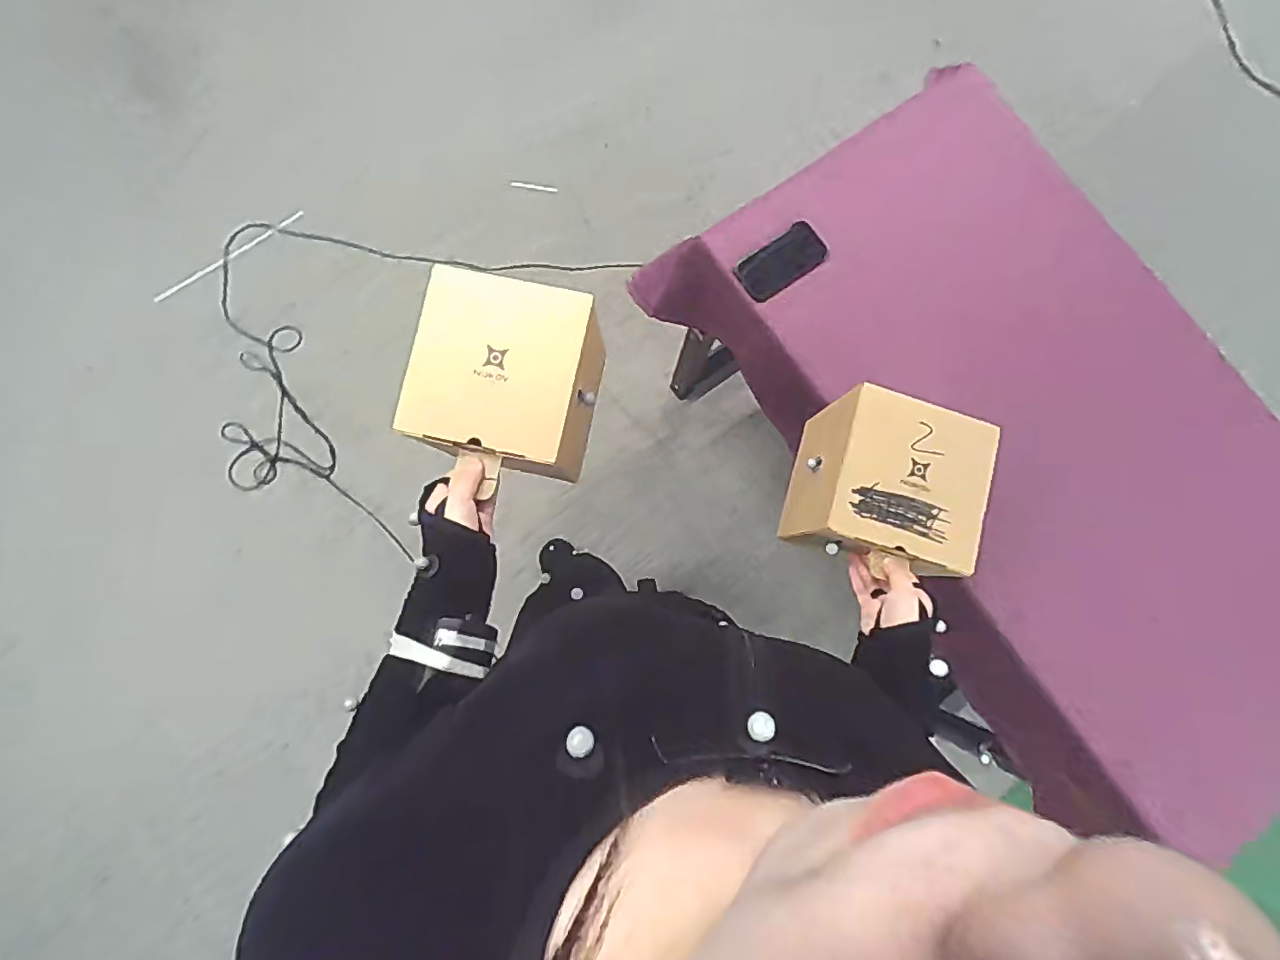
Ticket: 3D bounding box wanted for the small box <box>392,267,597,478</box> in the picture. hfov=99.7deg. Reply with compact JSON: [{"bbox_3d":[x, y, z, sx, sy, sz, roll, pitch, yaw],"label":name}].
[{"bbox_3d":[-0.147,-0.108,0.616,0.168,0.176,0.179,12,86,2],"label":"small box"}]
